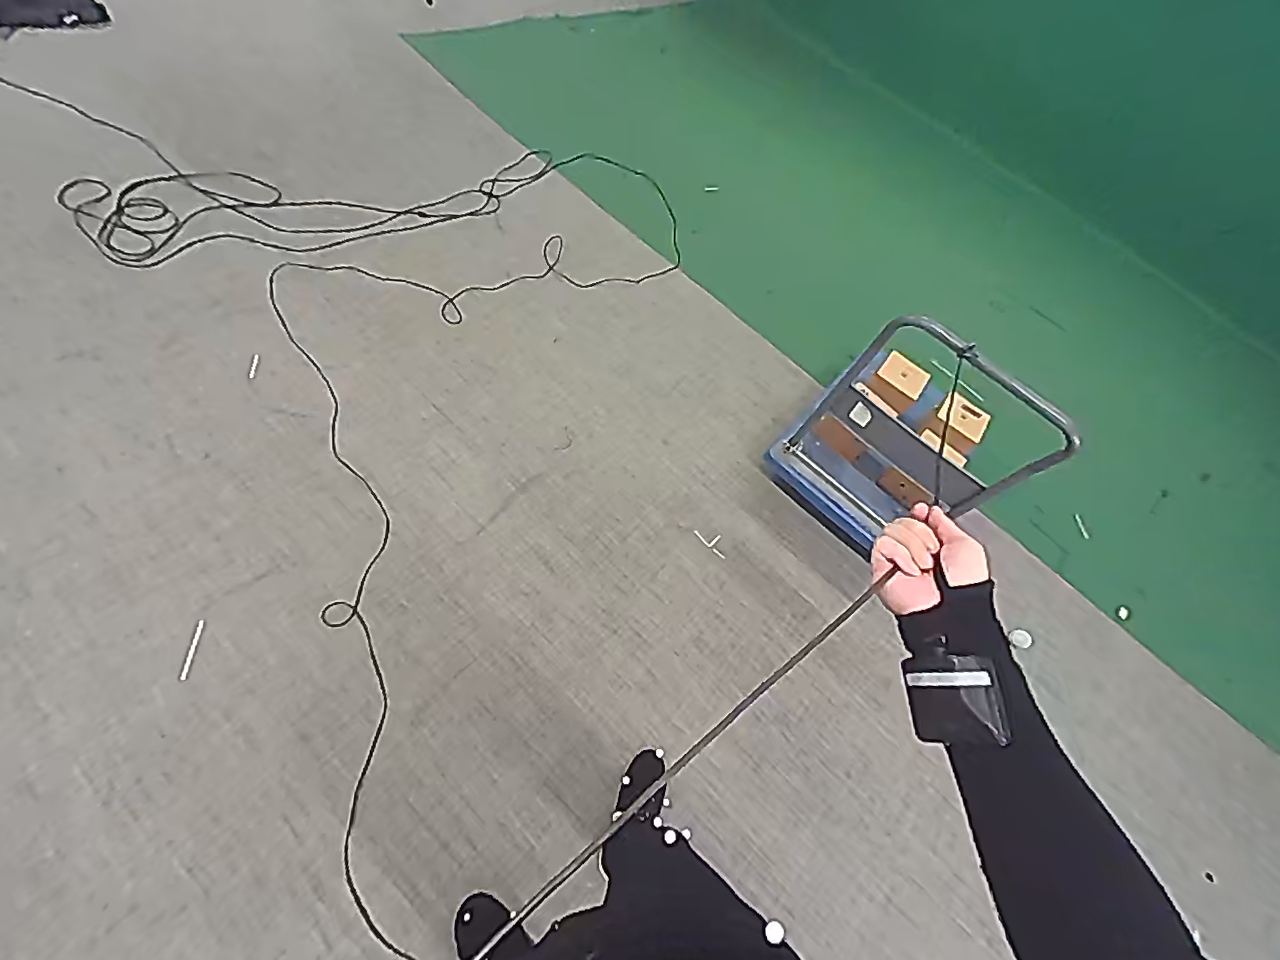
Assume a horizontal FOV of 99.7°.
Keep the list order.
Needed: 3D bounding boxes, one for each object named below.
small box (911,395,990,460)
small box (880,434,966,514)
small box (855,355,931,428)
[{"bbox_3d":[1.131,-0.169,1.979,0.168,0.176,0.179,39,58,10],"label":"small box"},{"bbox_3d":[0.956,-0.019,1.839,0.168,0.176,0.179,43,59,12],"label":"small box"},{"bbox_3d":[0.937,-0.325,2.019,0.168,0.176,0.179,40,57,9],"label":"small box"}]
